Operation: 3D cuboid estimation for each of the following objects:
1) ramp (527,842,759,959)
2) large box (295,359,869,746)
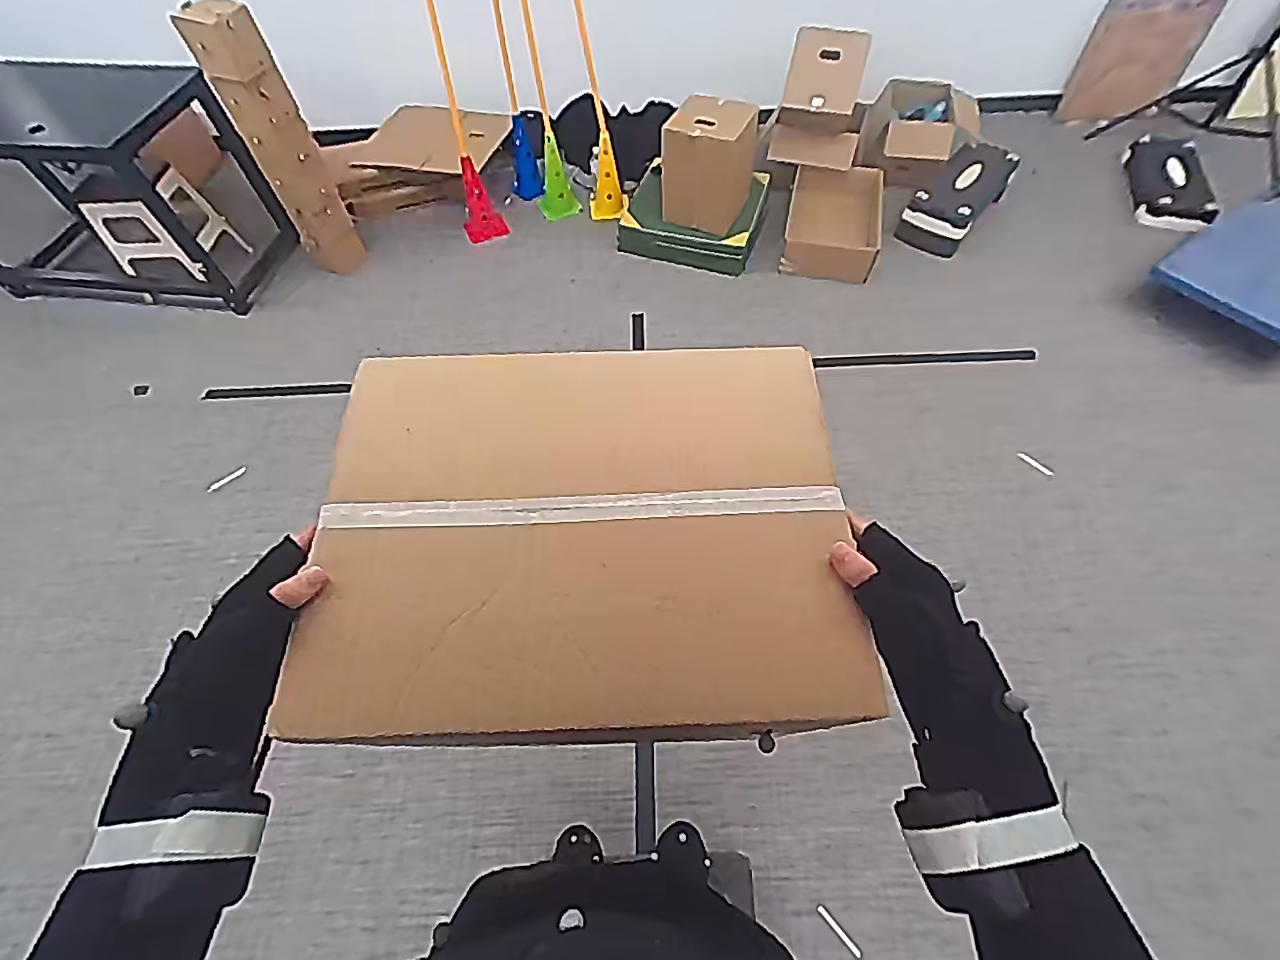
[{"bbox_3d":[0.016,1.284,1.026,0.509,0.206,0.991,-3,59,-1],"label":"ramp"},{"bbox_3d":[-0.042,0.098,0.568,0.408,0.320,0.320,-2,63,0],"label":"large box"}]
